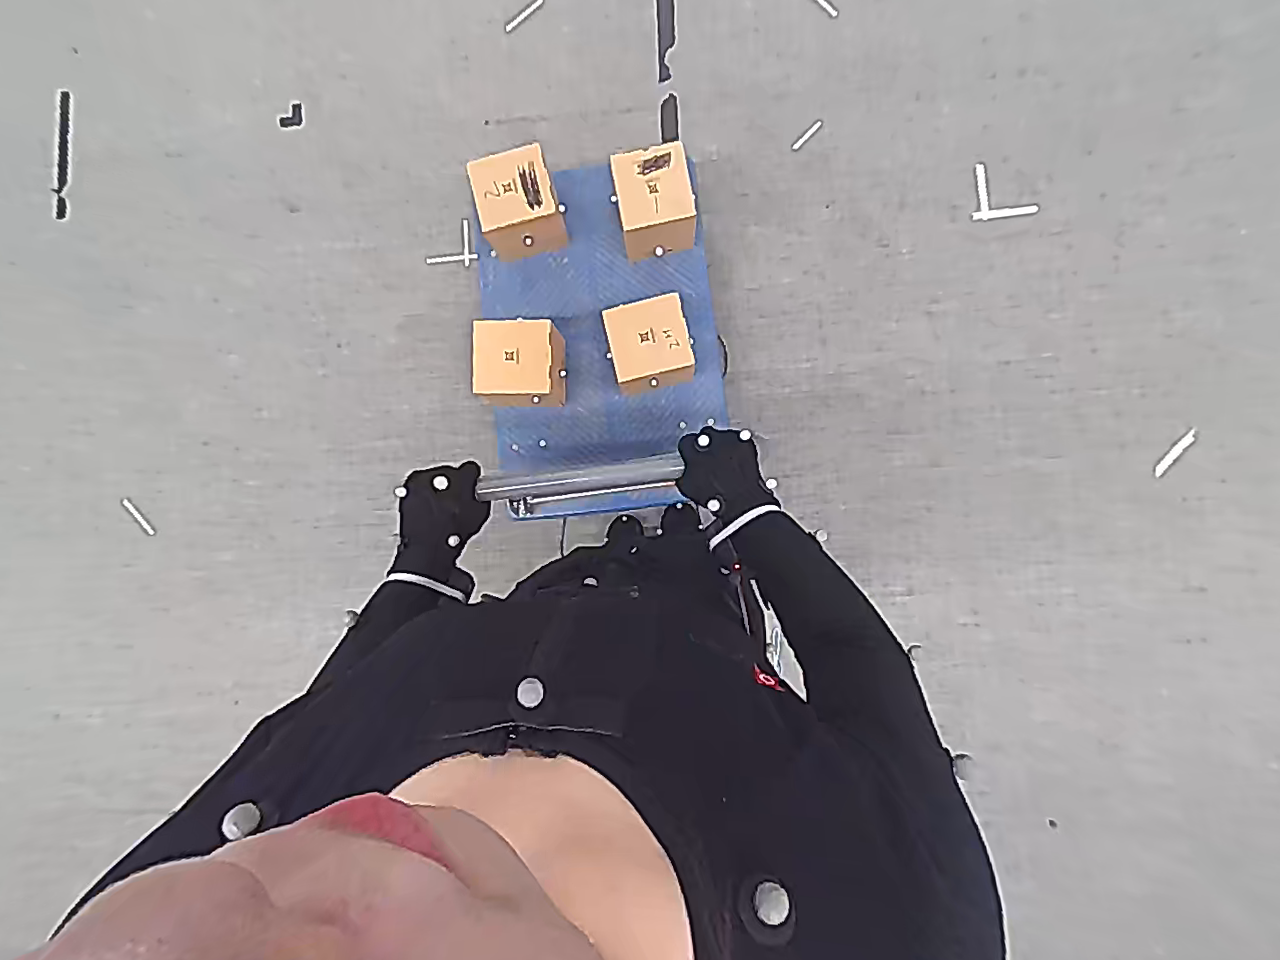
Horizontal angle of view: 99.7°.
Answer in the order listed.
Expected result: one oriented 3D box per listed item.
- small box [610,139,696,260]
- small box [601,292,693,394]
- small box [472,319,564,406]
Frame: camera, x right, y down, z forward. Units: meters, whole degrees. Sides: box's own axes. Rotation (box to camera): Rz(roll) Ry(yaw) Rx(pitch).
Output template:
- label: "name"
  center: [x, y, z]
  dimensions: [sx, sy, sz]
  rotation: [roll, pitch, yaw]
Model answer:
- label: "small box"
  center: [0.031, -0.647, 1.264]
  dimensions: [0.168, 0.176, 0.179]
  rotation: [-11, 88, 3]
- label: "small box"
  center: [0.021, -0.309, 1.254]
  dimensions: [0.179, 0.176, 0.168]
  rotation: [-13, 87, 3]
- label: "small box"
  center: [-0.280, -0.270, 1.270]
  dimensions: [0.179, 0.176, 0.168]
  rotation: [-1, 88, 2]
